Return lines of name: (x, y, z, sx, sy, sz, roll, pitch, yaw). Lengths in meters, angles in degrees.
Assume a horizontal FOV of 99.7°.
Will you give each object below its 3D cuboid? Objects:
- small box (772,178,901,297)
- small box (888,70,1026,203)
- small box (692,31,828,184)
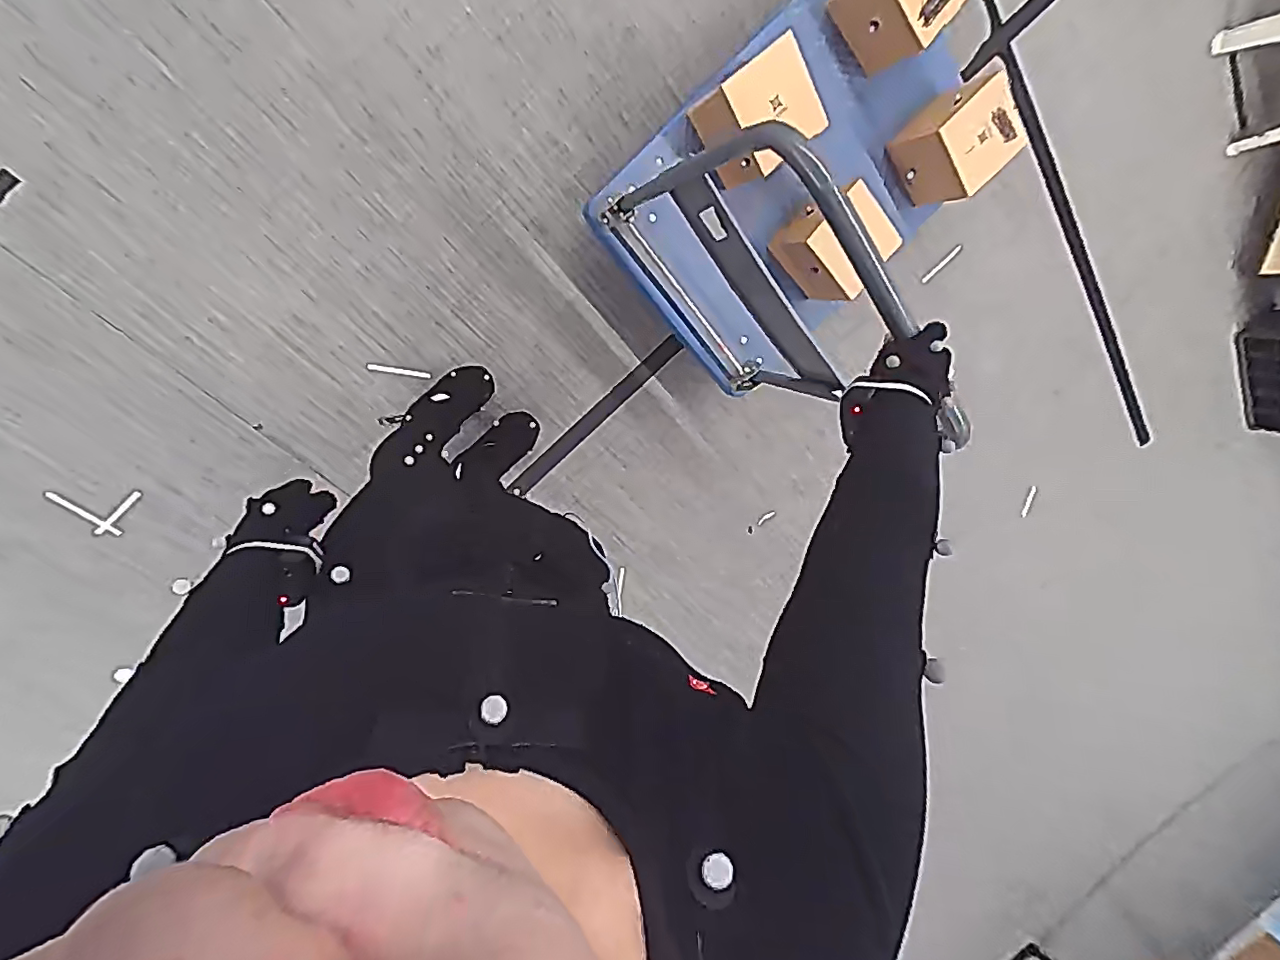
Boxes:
small box: (0.430, -0.531, 1.209, 0.179, 0.176, 0.168, 39, 95, -25)
small box: (0.702, -0.755, 1.210, 0.179, 0.176, 0.168, -44, 115, 3)
small box: (0.232, -0.725, 1.077, 0.168, 0.176, 0.179, -39, 117, -1)
